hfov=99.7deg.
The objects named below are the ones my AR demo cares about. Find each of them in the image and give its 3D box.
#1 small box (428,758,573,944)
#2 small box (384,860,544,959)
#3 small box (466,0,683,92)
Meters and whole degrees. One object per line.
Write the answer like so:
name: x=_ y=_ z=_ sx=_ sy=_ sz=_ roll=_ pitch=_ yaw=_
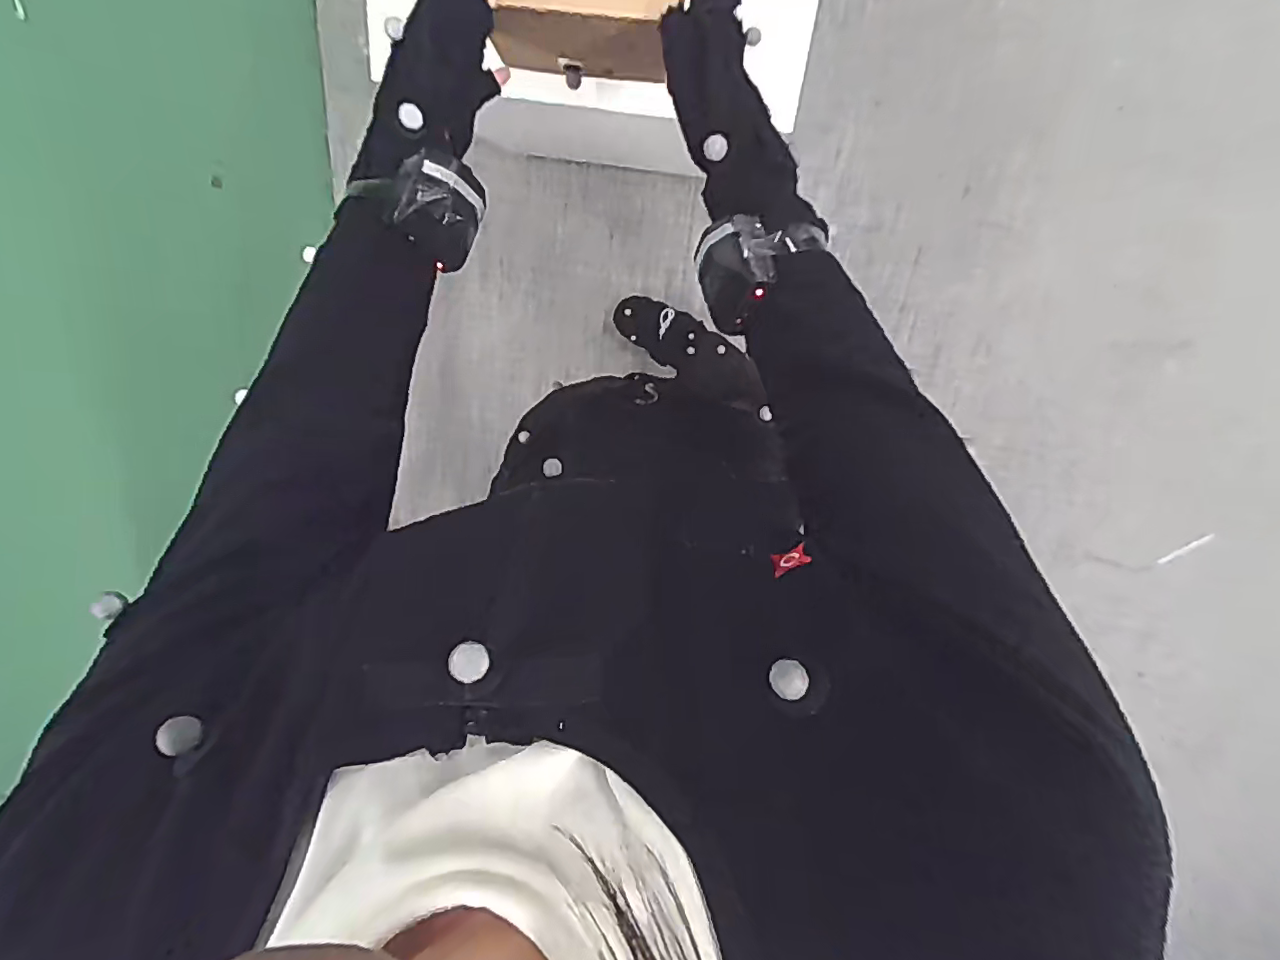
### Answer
small box: x=-0.207 y=0.565 z=0.838 sx=0.179 sy=0.176 sz=0.168 roll=10 pitch=115 yaw=2
small box: x=-0.227 y=0.634 z=0.690 sx=0.168 sy=0.176 sz=0.179 roll=11 pitch=116 yaw=2
small box: x=-0.046 y=-0.458 z=0.454 sx=0.168 sy=0.176 sz=0.179 roll=3 pitch=114 yaw=-2
